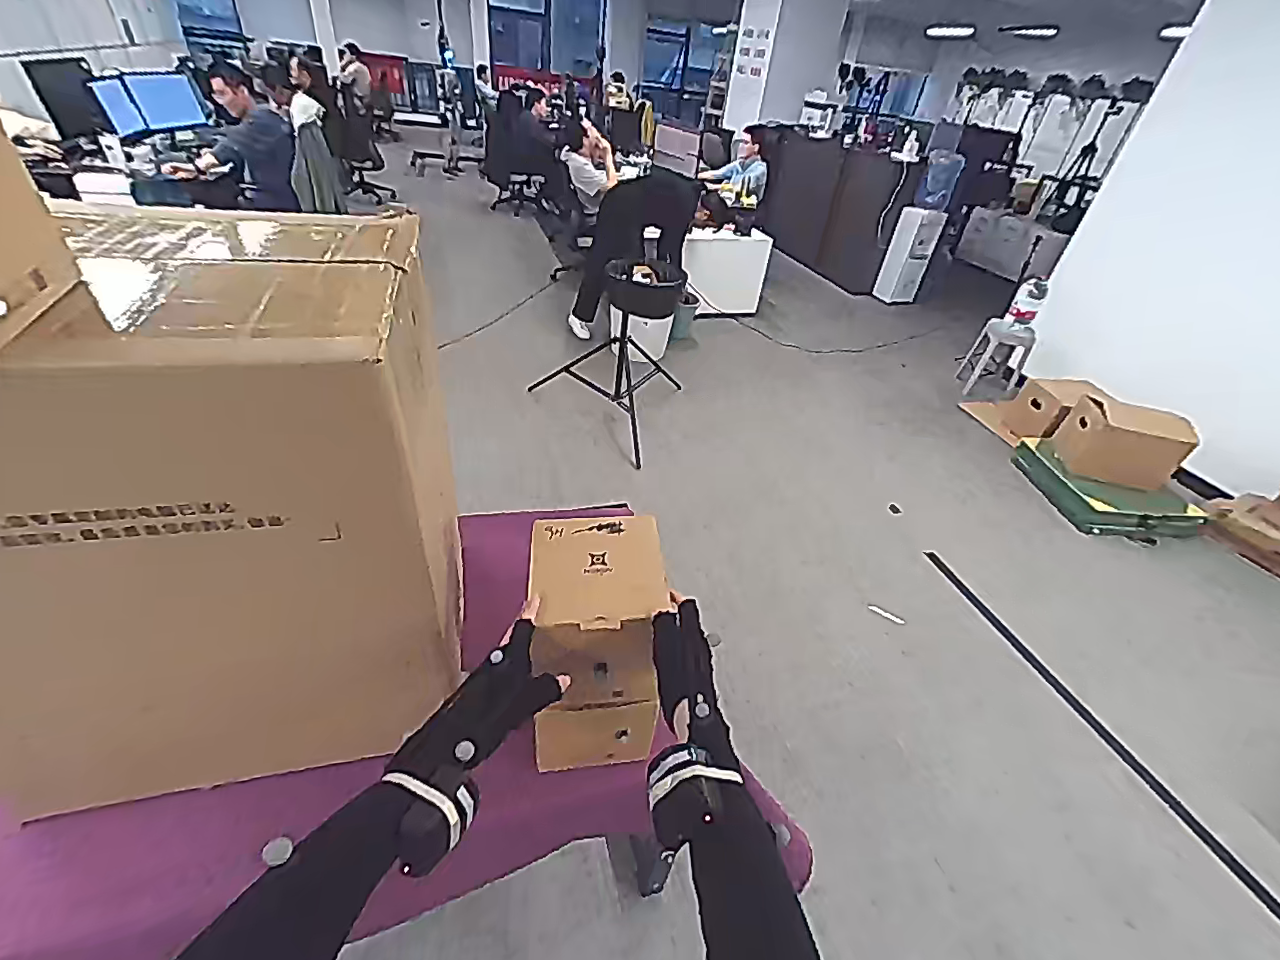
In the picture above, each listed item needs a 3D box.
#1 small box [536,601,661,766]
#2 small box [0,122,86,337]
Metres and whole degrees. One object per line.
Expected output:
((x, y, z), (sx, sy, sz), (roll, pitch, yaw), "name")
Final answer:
((-0.071, 0.307, 0.813), (0.168, 0.176, 0.179), (-1, 37, -11), "small box")
((-0.517, -0.177, 0.334), (0.179, 0.176, 0.168), (-7, 42, -17), "small box")
